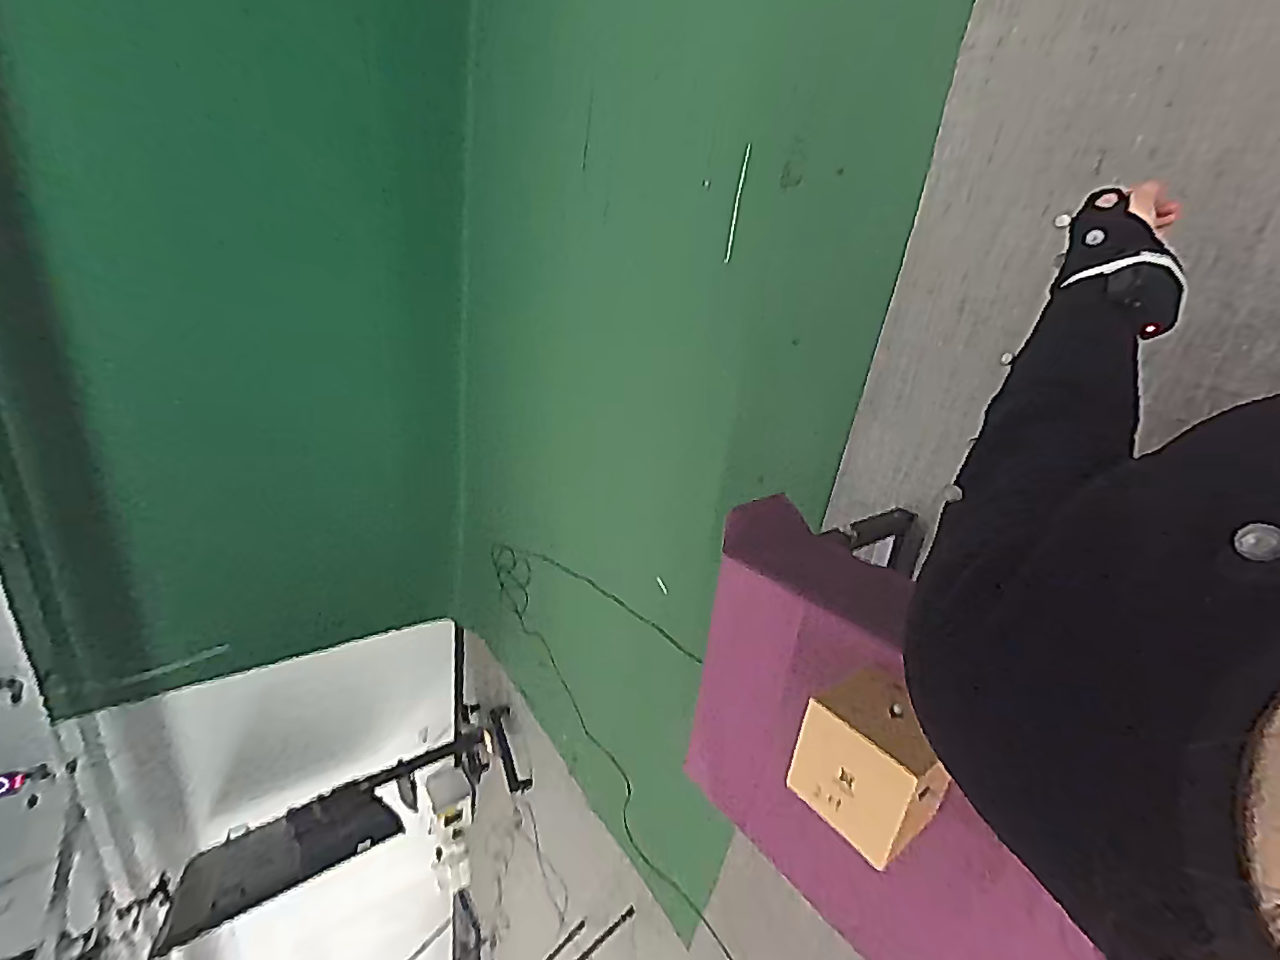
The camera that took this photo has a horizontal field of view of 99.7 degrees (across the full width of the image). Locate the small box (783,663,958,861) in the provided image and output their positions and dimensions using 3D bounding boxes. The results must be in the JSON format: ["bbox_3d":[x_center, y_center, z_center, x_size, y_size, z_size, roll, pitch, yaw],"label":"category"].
[{"bbox_3d":[0.352,0.413,0.825,0.168,0.176,0.179,31,120,46],"label":"small box"}]
